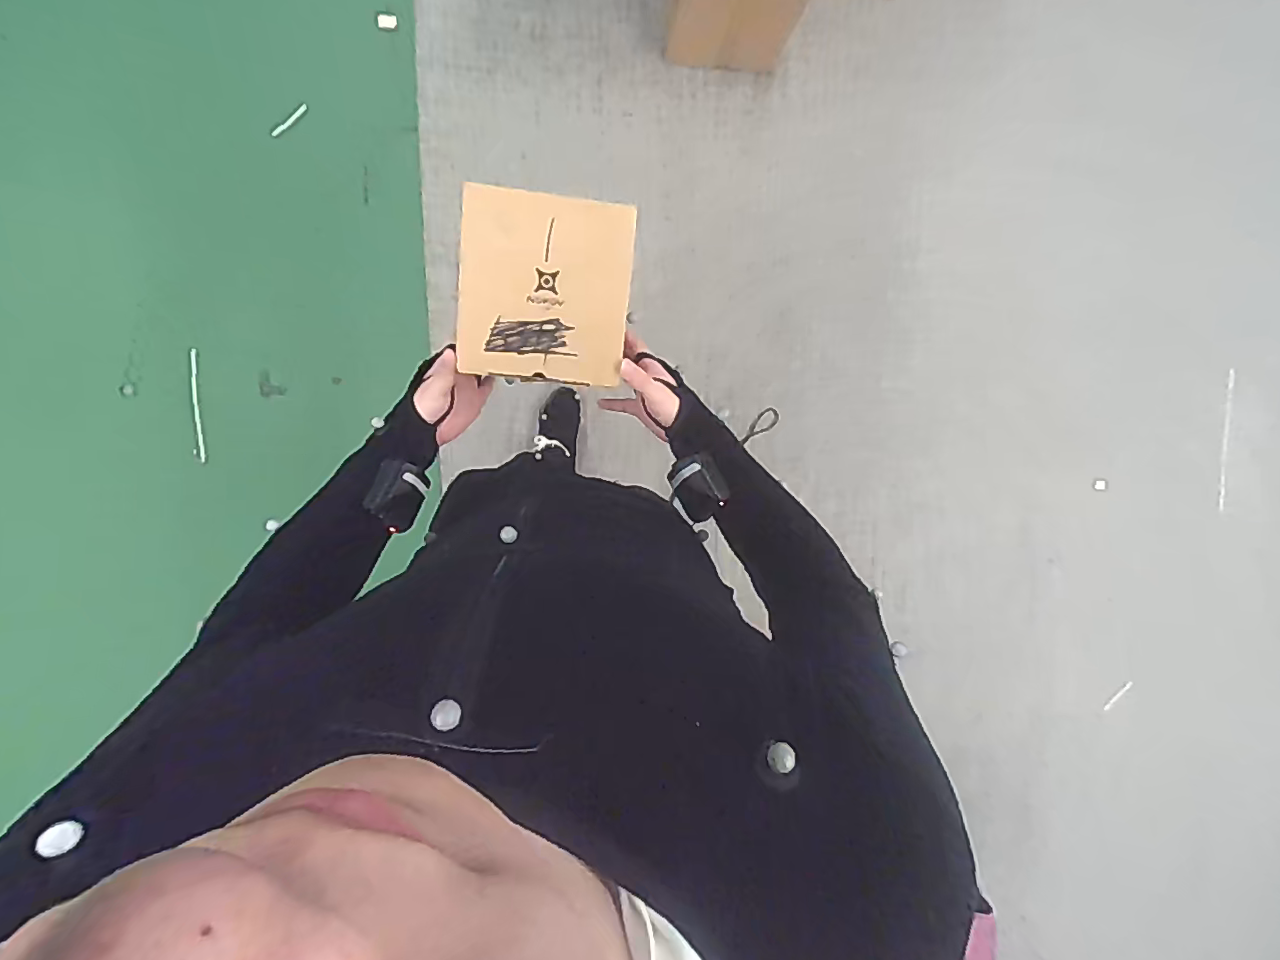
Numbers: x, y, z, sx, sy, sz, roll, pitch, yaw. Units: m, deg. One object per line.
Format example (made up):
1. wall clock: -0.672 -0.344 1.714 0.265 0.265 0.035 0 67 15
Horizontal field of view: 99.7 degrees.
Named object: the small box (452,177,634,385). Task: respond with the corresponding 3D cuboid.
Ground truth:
1. small box: -0.101 -0.206 0.604 0.168 0.176 0.179 6 101 -6
